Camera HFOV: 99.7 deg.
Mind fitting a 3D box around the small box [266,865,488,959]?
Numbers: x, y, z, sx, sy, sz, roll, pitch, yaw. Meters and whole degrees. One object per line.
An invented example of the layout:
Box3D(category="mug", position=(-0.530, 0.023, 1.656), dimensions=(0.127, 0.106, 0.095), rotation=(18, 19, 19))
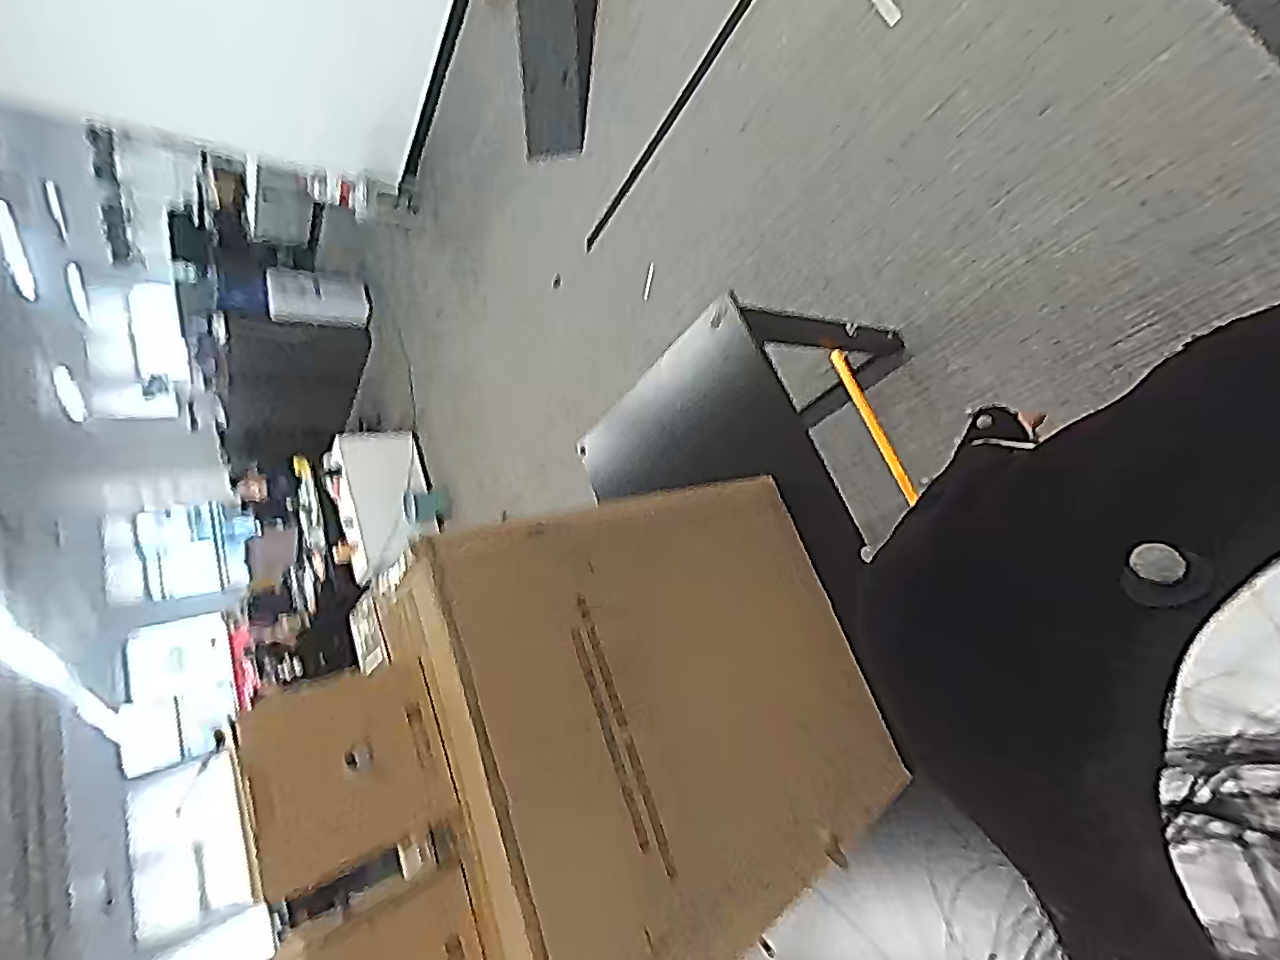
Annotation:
Box3D(category="small box", position=(-0.256, 0.517, 0.538), dimensions=(0.179, 0.176, 0.168), rotation=(-45, 63, 42))

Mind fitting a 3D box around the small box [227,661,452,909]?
Box3D(category="small box", position=(-0.318, 0.313, 0.577), dimensions=(0.179, 0.176, 0.168), rotation=(-42, 66, 43))
